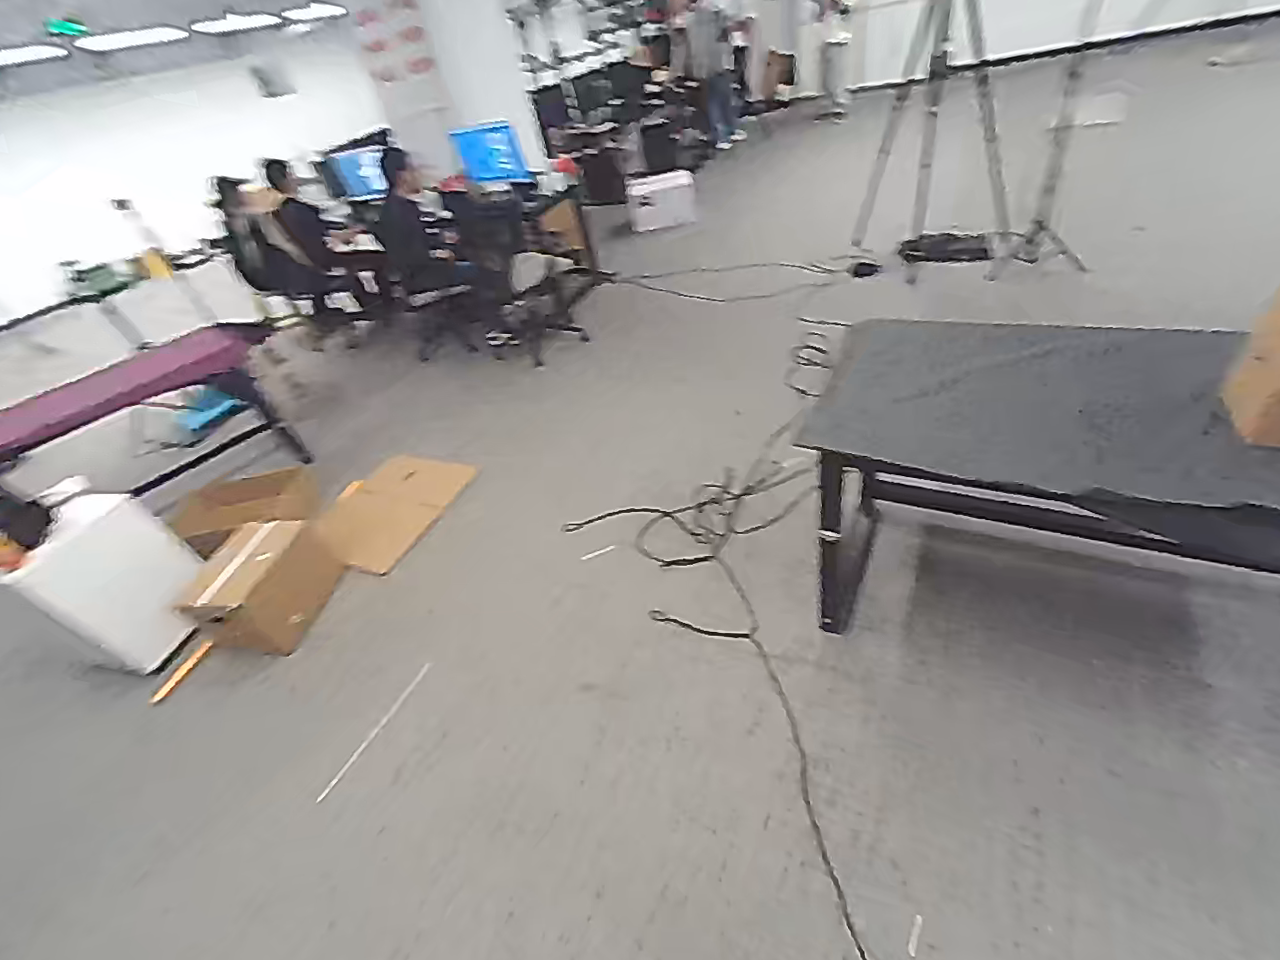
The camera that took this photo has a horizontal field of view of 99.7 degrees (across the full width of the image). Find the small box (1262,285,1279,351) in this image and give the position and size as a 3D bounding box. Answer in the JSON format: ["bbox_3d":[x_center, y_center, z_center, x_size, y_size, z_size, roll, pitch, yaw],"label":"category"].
[{"bbox_3d":[1.110,-0.274,0.812,0.168,0.176,0.179,9,44,27],"label":"small box"}]

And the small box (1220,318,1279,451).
[{"bbox_3d":[1.152,-0.160,0.924,0.168,0.176,0.179,9,45,28],"label":"small box"}]
